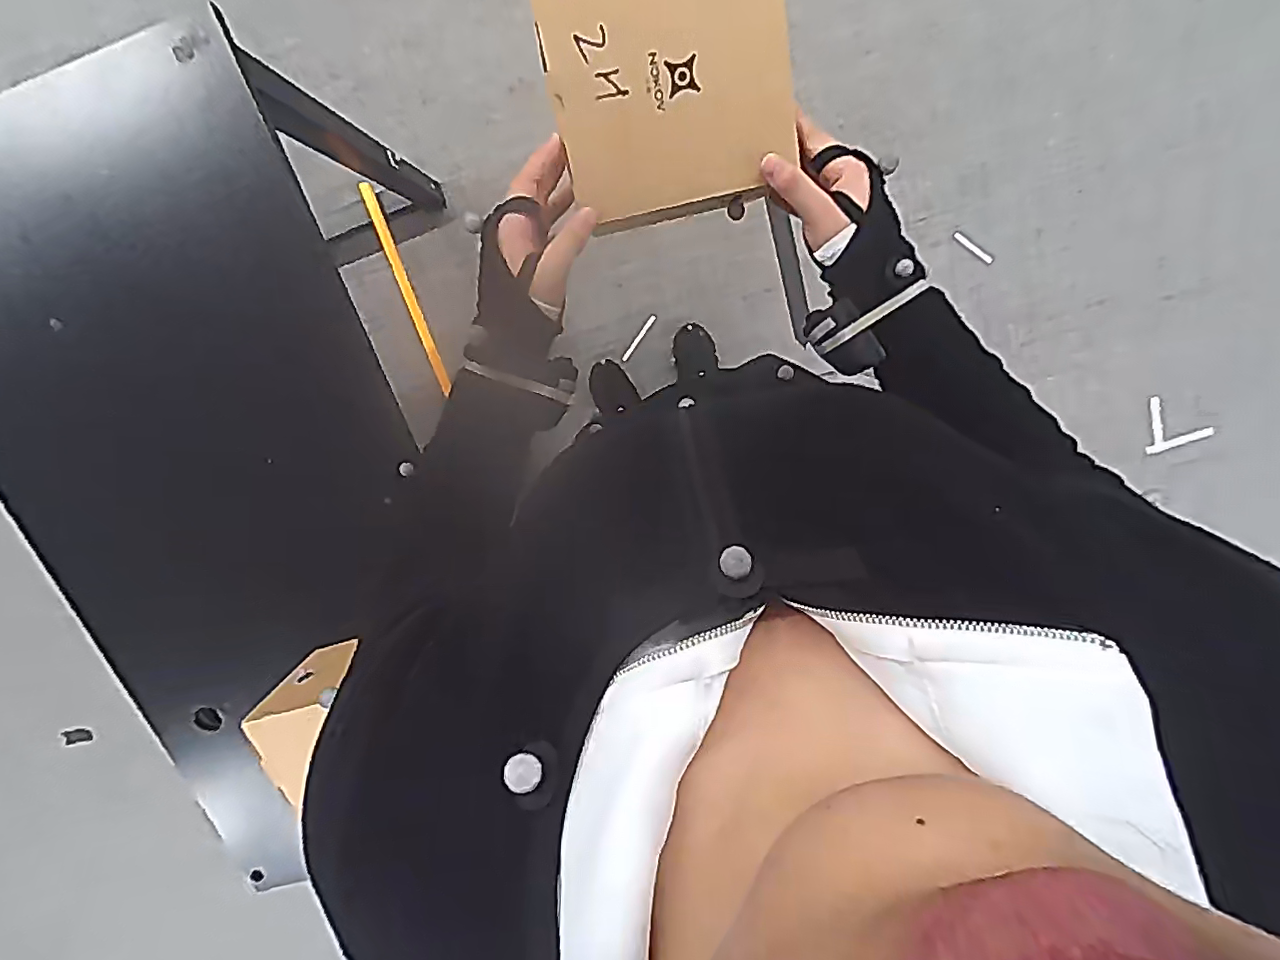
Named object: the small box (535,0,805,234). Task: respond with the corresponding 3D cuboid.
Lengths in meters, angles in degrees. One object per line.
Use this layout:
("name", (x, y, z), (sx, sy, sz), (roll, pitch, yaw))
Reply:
("small box", (0.023, -0.314, 0.456), (0.179, 0.176, 0.168), (-11, 112, 4))

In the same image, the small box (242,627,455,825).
("small box", (-0.395, 0.338, 0.767), (0.179, 0.176, 0.168), (-18, 105, 5))
